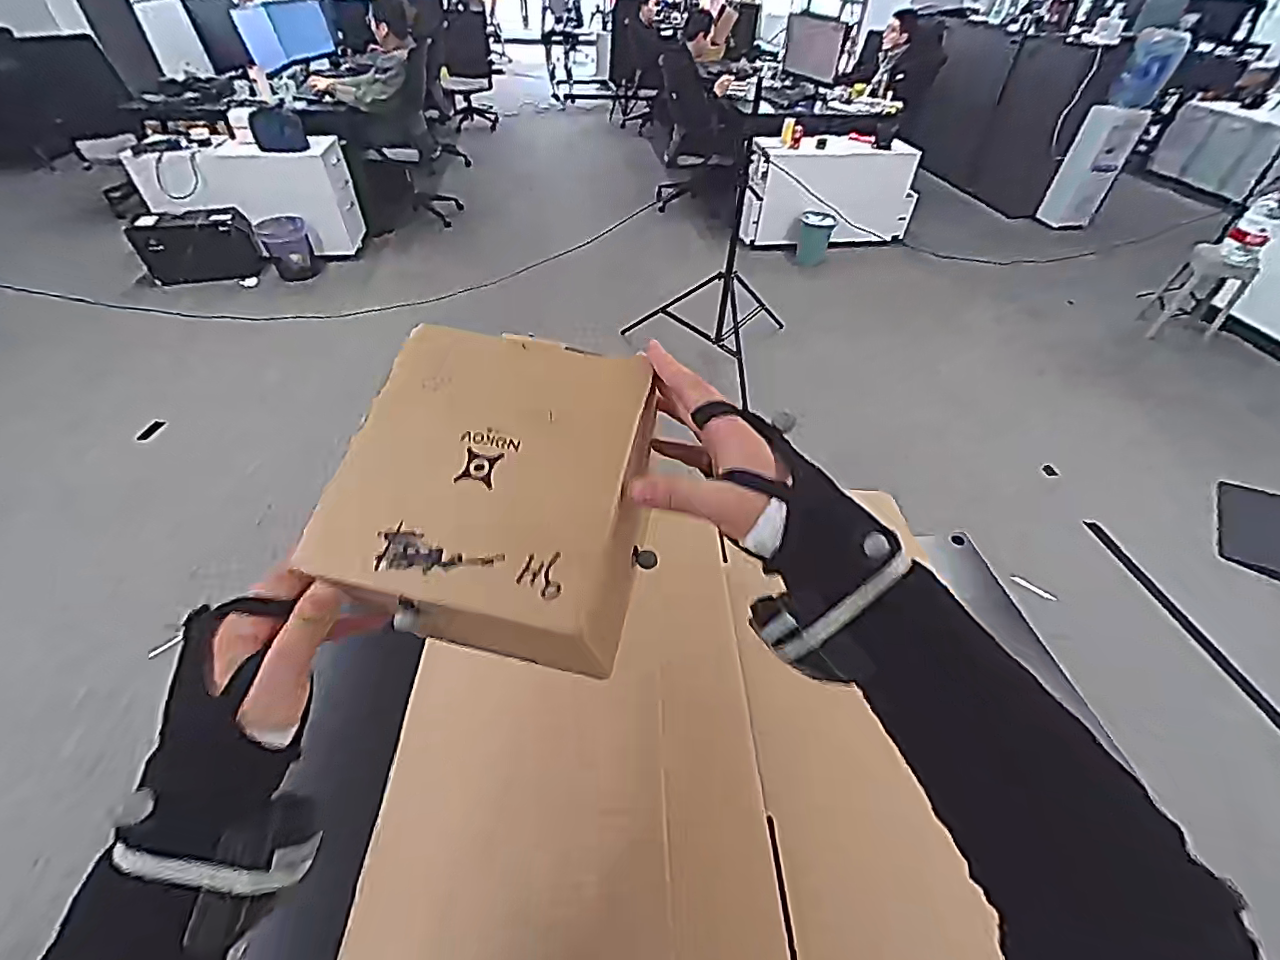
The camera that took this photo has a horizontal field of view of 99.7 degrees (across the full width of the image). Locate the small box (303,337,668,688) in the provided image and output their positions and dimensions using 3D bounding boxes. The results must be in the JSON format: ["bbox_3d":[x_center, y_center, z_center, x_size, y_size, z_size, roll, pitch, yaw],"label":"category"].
[{"bbox_3d":[-0.080,0.031,0.383,0.168,0.176,0.179,11,63,8],"label":"small box"}]
